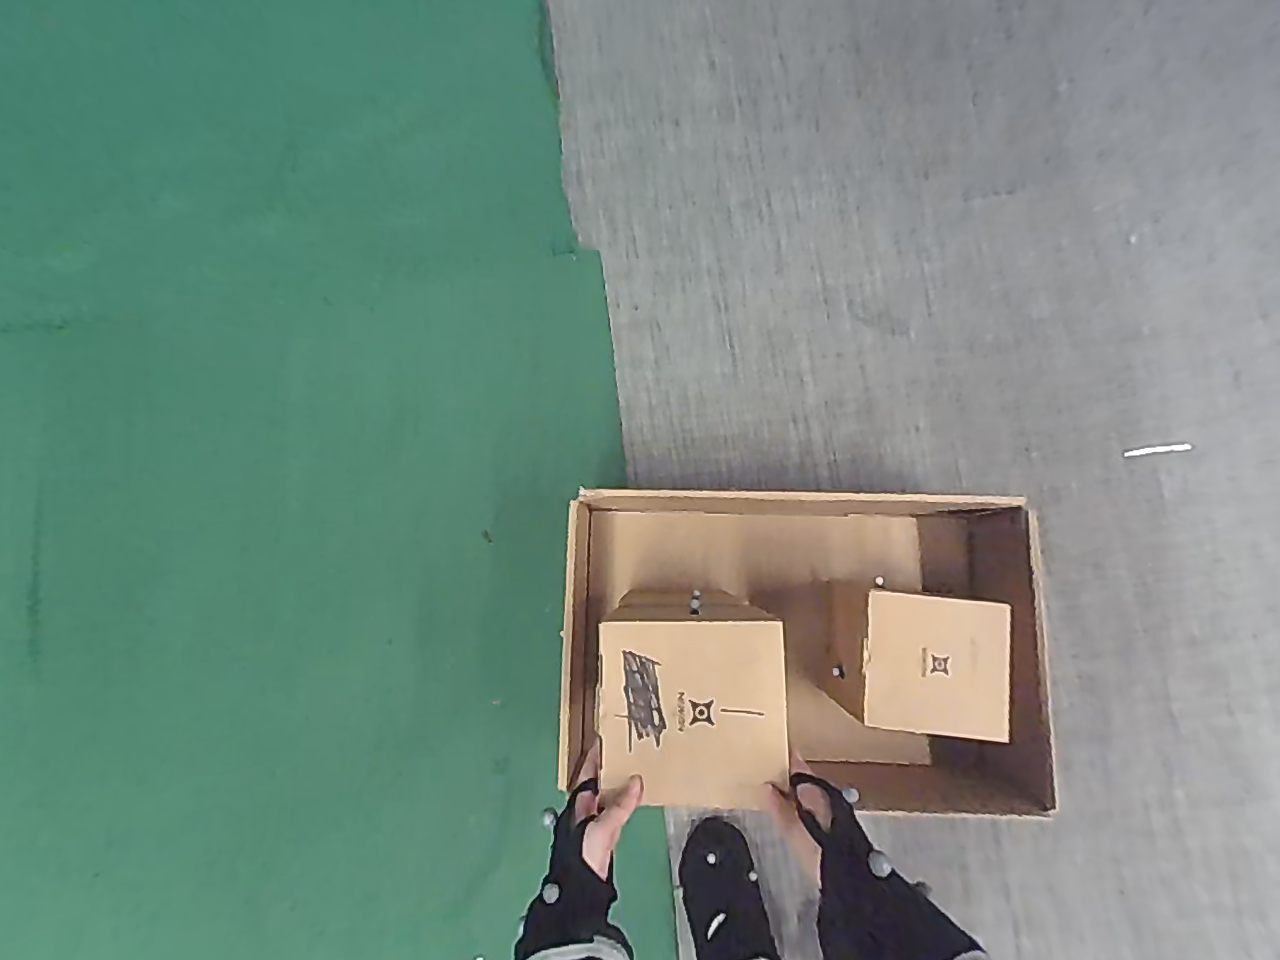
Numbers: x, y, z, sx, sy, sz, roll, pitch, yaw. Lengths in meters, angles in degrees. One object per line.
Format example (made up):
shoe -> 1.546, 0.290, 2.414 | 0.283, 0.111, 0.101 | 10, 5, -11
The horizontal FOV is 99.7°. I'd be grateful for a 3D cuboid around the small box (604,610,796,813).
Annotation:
small box -> 0.058, 0.231, 0.580 | 0.179, 0.176, 0.168 | -1, 81, 2
